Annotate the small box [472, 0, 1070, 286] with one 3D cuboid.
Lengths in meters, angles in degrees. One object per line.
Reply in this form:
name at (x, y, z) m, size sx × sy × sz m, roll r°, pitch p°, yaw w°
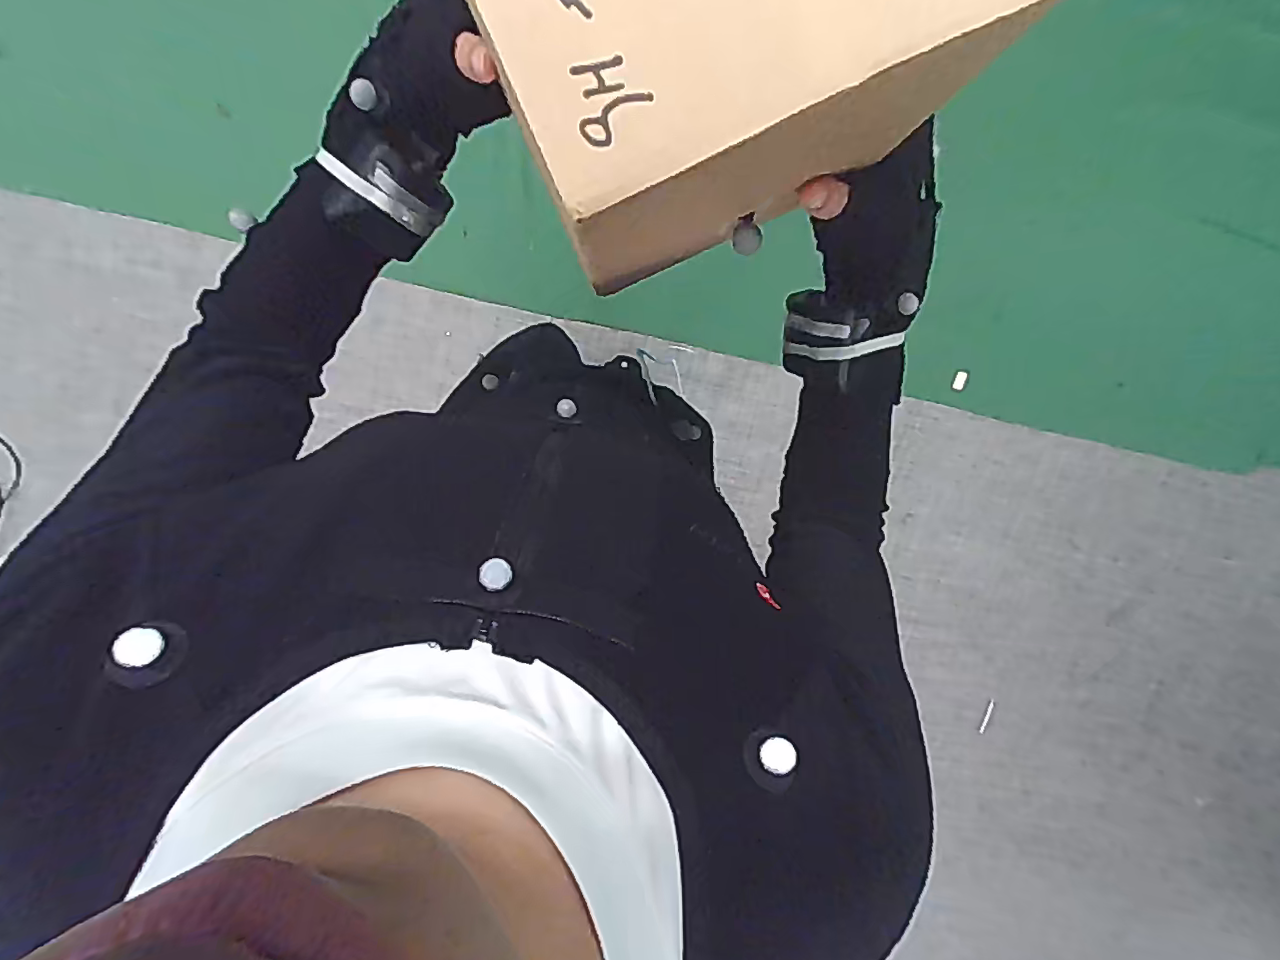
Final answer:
small box at (0.024, -0.206, 0.233) m, size 0.179 × 0.176 × 0.168 m, roll -24°, pitch 100°, yaw 2°
